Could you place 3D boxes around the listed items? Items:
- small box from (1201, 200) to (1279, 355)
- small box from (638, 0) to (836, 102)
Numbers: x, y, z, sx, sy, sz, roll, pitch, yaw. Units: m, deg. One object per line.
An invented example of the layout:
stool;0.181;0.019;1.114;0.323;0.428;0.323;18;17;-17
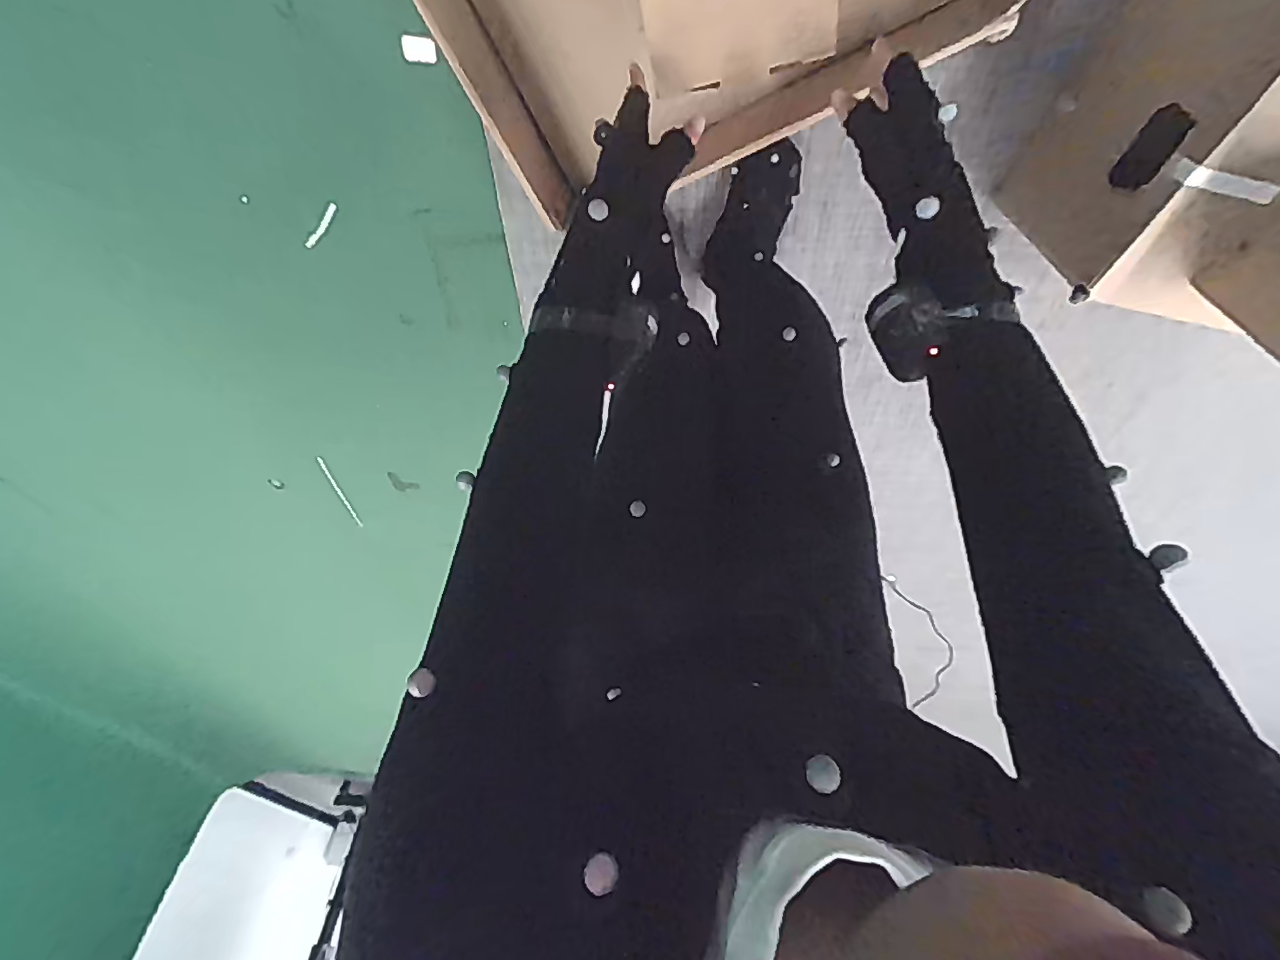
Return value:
small box;0.773;-0.225;0.564;0.179;0.176;0.168;6;140;-1
small box;0.082;-0.484;0.490;0.168;0.176;0.179;-7;135;13
